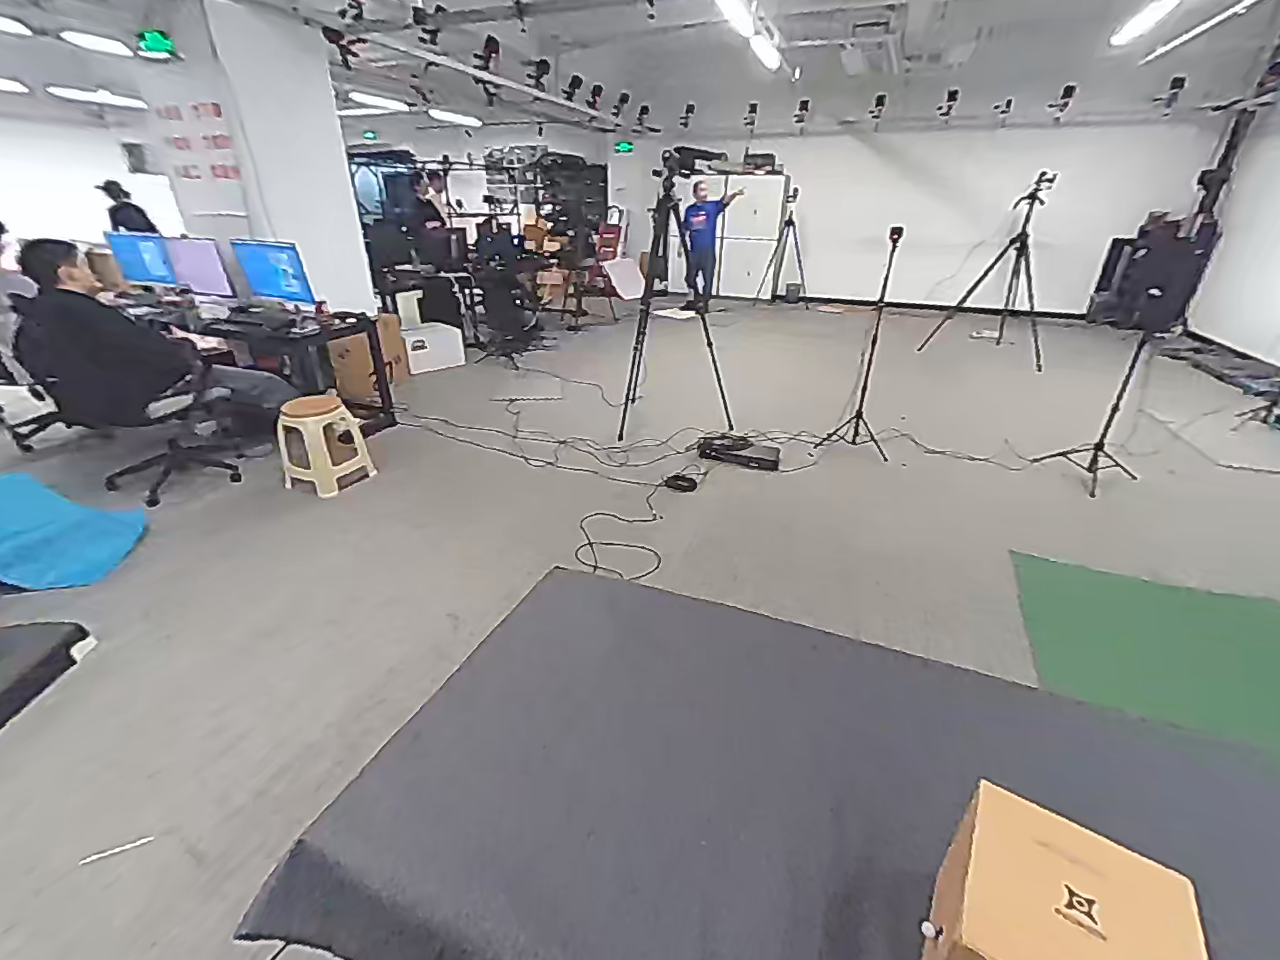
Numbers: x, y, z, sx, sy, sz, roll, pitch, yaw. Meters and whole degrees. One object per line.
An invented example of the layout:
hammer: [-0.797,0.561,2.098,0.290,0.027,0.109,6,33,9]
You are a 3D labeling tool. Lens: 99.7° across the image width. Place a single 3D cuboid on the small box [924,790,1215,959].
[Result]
small box: [0.362,0.435,0.475,0.168,0.176,0.179,19,28,30]
